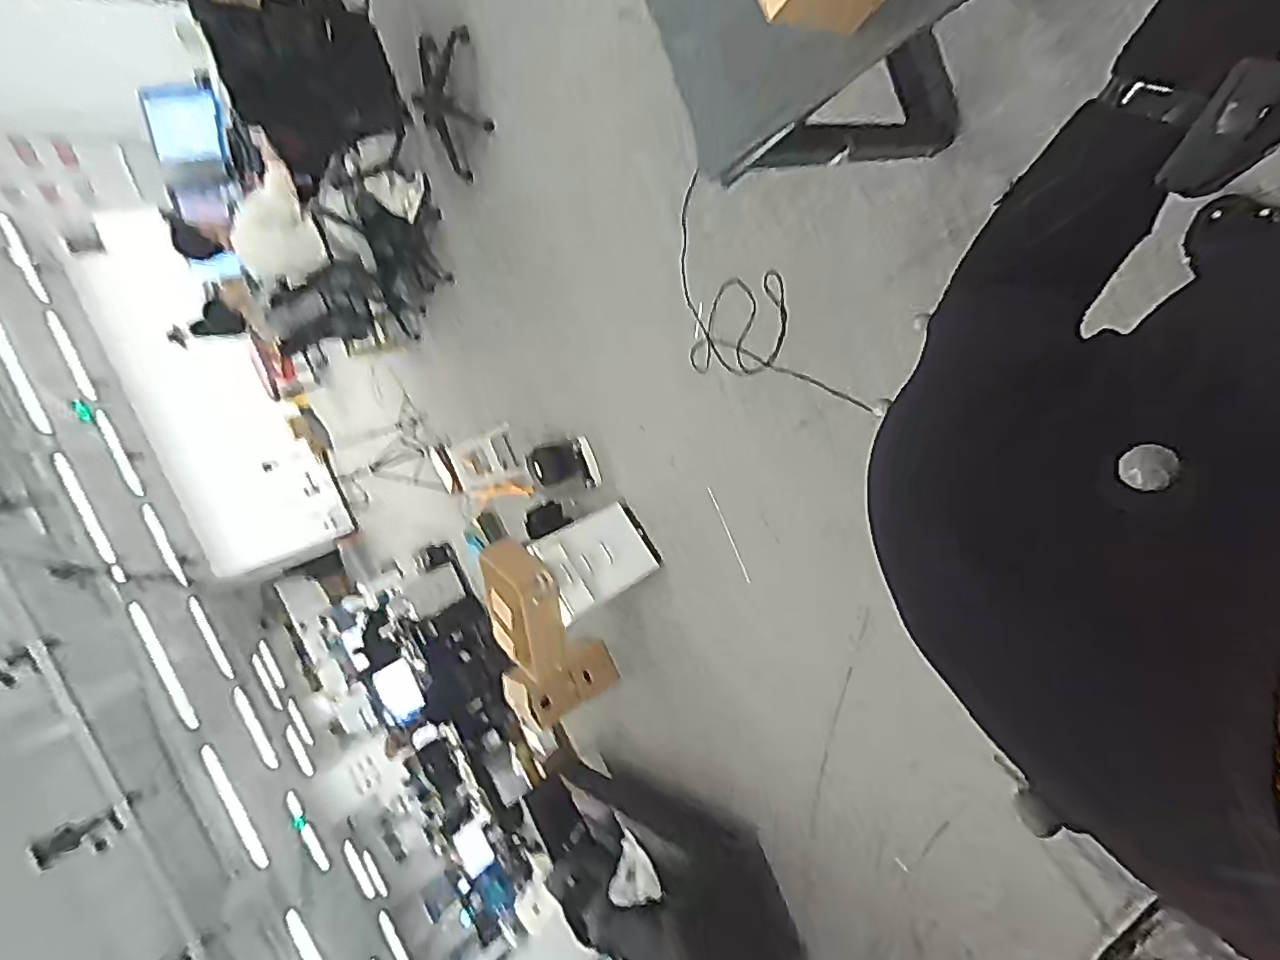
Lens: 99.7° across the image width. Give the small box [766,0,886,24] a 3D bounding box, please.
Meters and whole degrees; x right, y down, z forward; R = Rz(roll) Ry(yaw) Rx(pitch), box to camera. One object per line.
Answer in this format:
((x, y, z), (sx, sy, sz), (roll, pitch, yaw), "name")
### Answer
((0.215, -0.623, 0.558), (0.168, 0.176, 0.179), (-18, 96, 56), "small box")
